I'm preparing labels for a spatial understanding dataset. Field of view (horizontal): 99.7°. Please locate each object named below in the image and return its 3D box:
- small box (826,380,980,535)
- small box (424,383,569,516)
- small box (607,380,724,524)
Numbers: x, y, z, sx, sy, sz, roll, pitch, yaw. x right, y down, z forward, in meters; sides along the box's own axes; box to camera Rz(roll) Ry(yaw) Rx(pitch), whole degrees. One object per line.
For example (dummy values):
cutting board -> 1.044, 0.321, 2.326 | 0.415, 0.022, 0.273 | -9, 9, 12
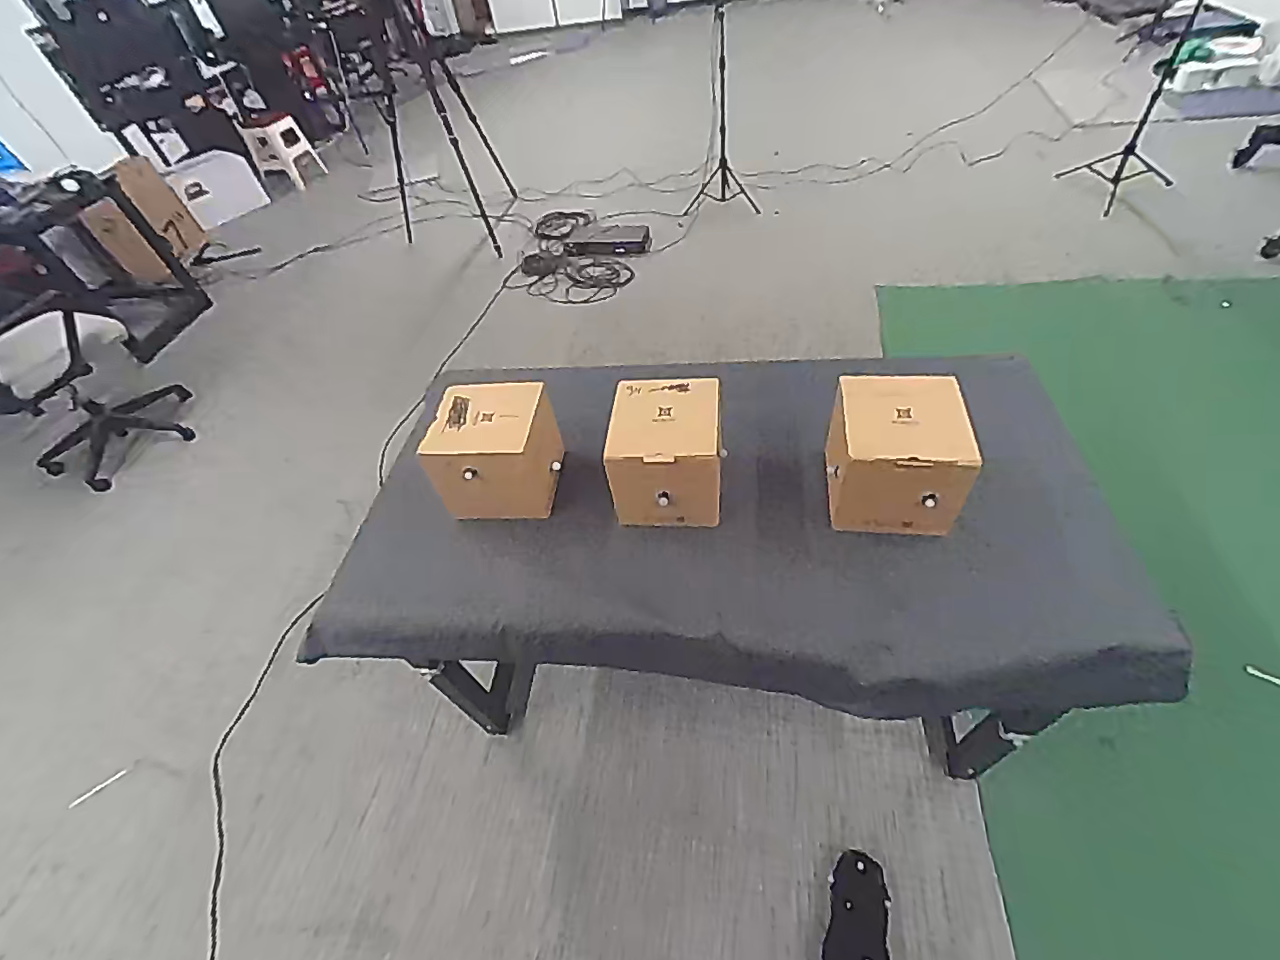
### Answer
small box -> 0.385, -0.033, 0.827 | 0.168, 0.176, 0.179 | 3, 49, 10
small box -> -0.236, -0.050, 0.940 | 0.179, 0.176, 0.168 | 0, 50, 8
small box -> 0.052, -0.042, 0.888 | 0.168, 0.176, 0.179 | 1, 50, 10
